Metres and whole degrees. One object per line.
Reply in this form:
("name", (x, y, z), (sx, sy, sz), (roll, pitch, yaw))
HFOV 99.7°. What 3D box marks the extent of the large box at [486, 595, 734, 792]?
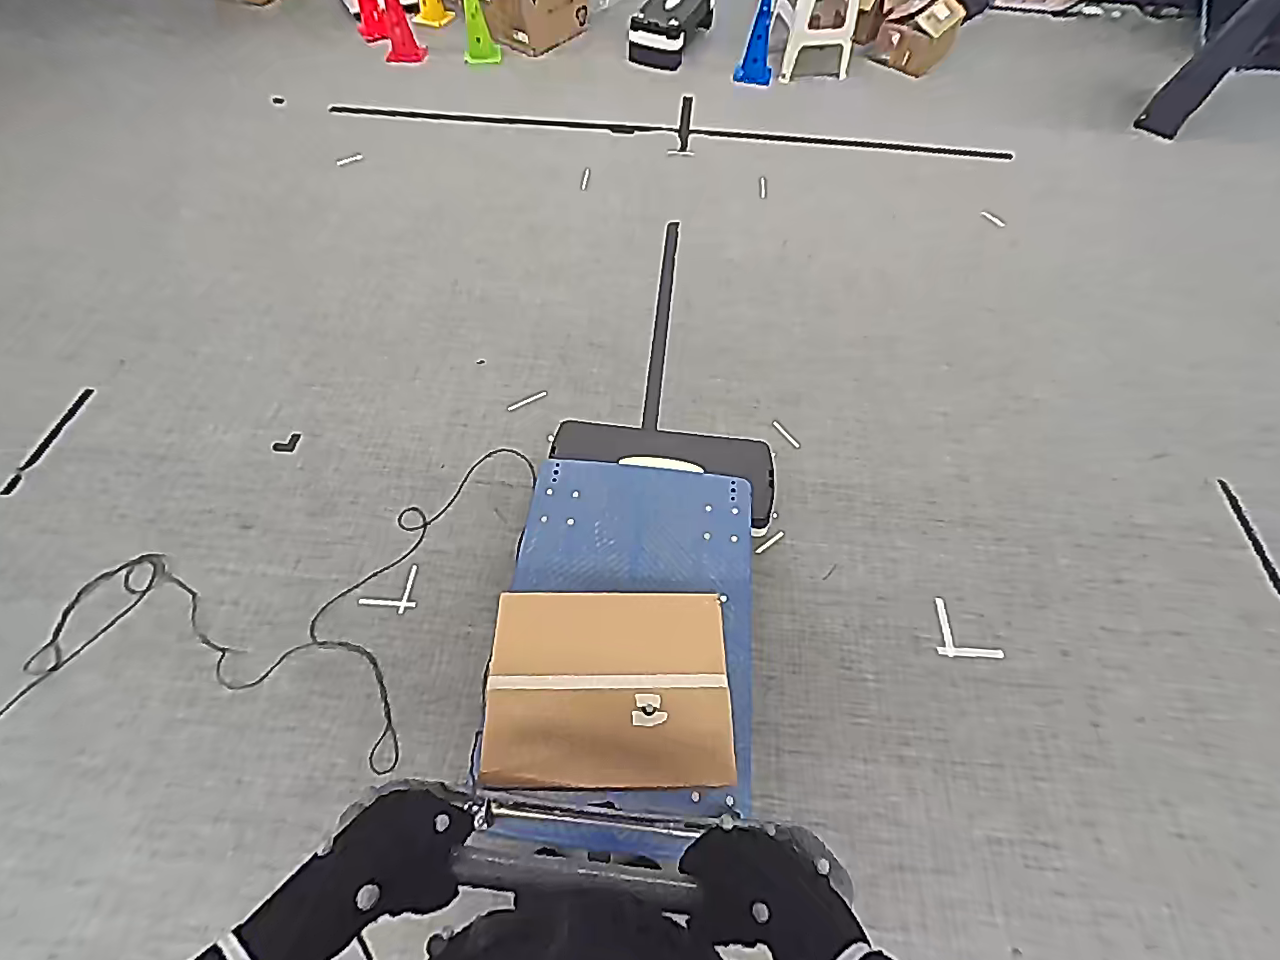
("large box", (-0.058, 0.426, 1.061), (0.408, 0.320, 0.320), (1, 59, -3))
